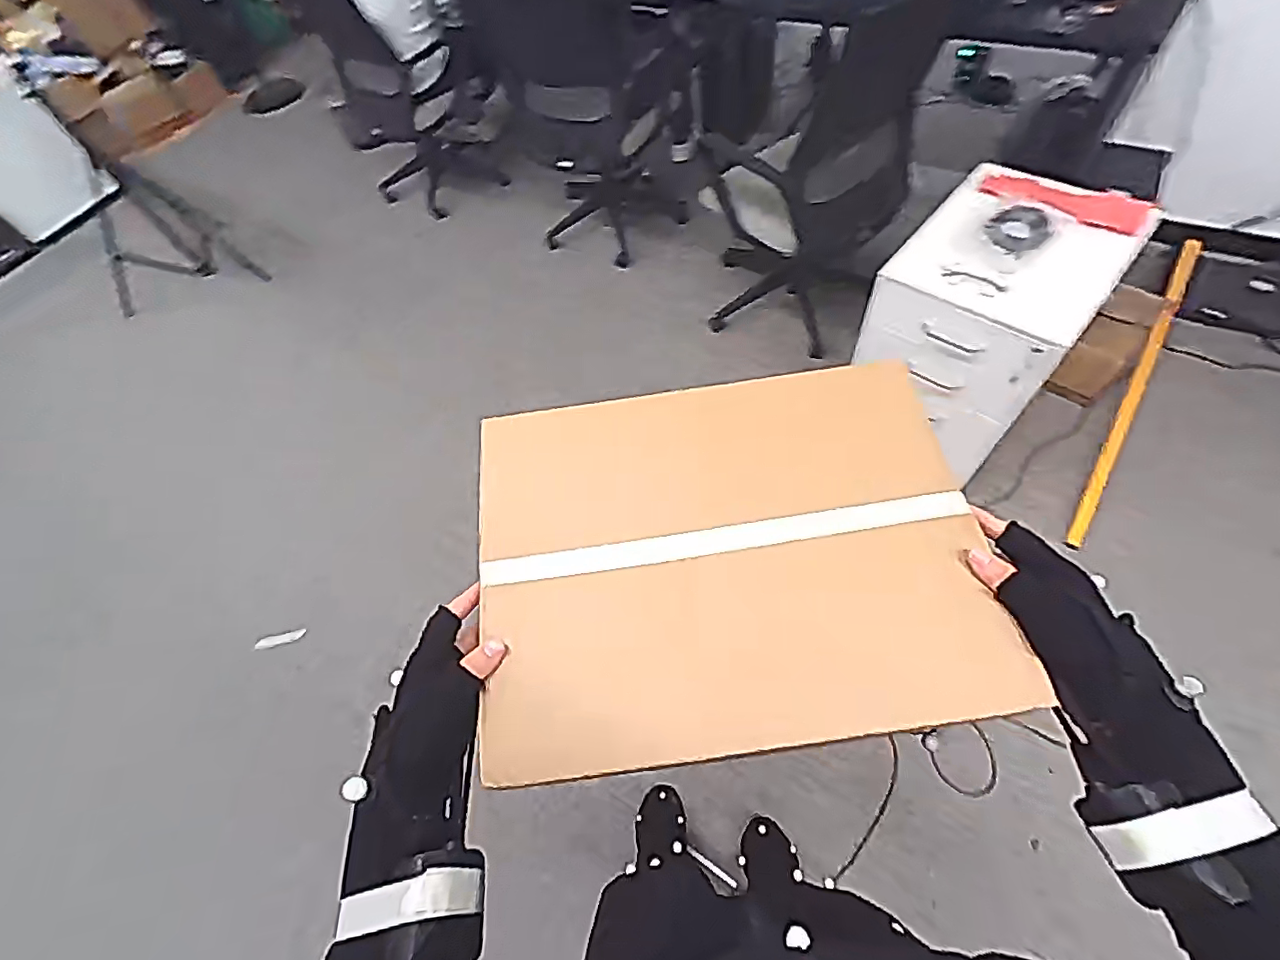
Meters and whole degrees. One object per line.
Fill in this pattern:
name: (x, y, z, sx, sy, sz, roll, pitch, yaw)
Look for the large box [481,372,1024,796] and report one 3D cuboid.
large box: (0.075, 0.126, 0.588, 0.408, 0.320, 0.320, -9, 62, -1)
